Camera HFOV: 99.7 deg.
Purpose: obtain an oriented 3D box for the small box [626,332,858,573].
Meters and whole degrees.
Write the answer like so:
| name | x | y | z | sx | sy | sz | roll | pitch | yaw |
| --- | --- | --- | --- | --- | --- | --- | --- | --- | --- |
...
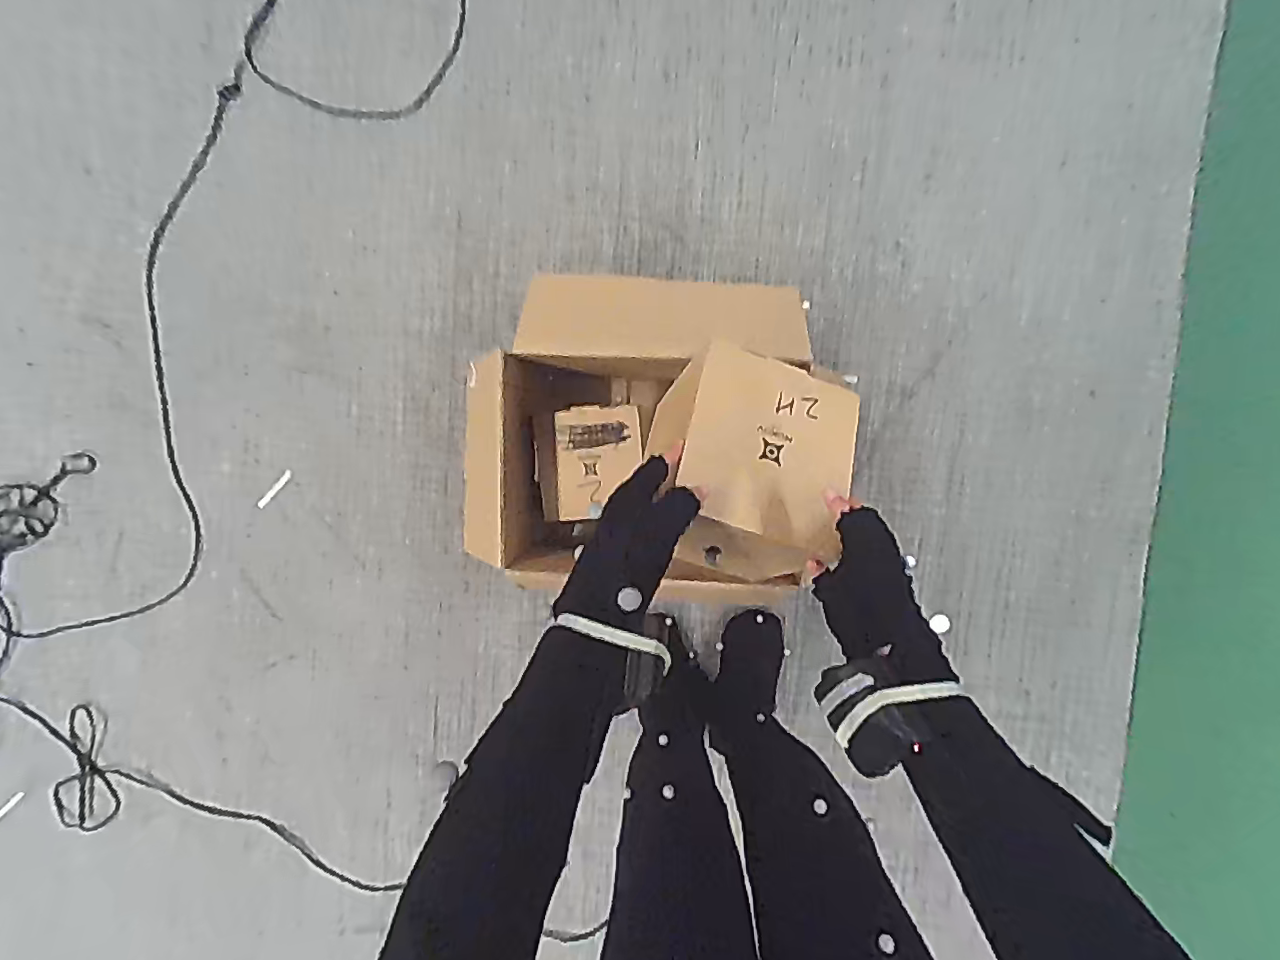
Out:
| name | x | y | z | sx | sy | sz | roll | pitch | yaw |
| --- | --- | --- | --- | --- | --- | --- | --- | --- | --- |
| small box | 0.094 | -0.012 | 0.558 | 0.168 | 0.176 | 0.179 | 19 | 69 | -11 |
